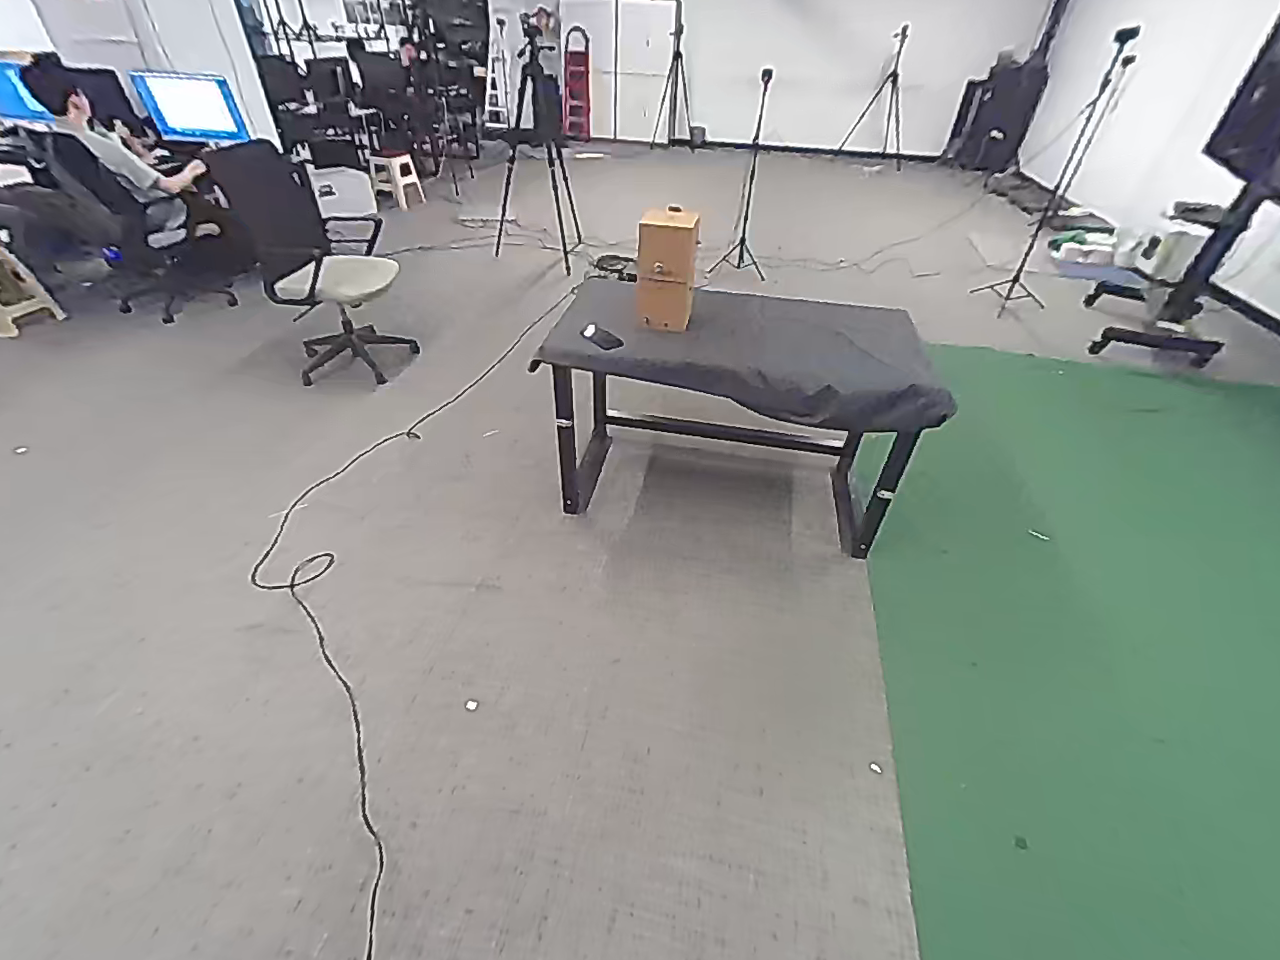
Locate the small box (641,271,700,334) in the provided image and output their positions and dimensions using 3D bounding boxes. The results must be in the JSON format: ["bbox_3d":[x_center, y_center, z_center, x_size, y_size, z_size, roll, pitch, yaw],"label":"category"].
[{"bbox_3d":[0.102,-0.607,1.820,0.168,0.176,0.179,10,39,8],"label":"small box"}]

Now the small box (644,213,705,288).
[{"bbox_3d":[0.108,-0.728,1.713,0.168,0.176,0.179,9,41,8],"label":"small box"}]
